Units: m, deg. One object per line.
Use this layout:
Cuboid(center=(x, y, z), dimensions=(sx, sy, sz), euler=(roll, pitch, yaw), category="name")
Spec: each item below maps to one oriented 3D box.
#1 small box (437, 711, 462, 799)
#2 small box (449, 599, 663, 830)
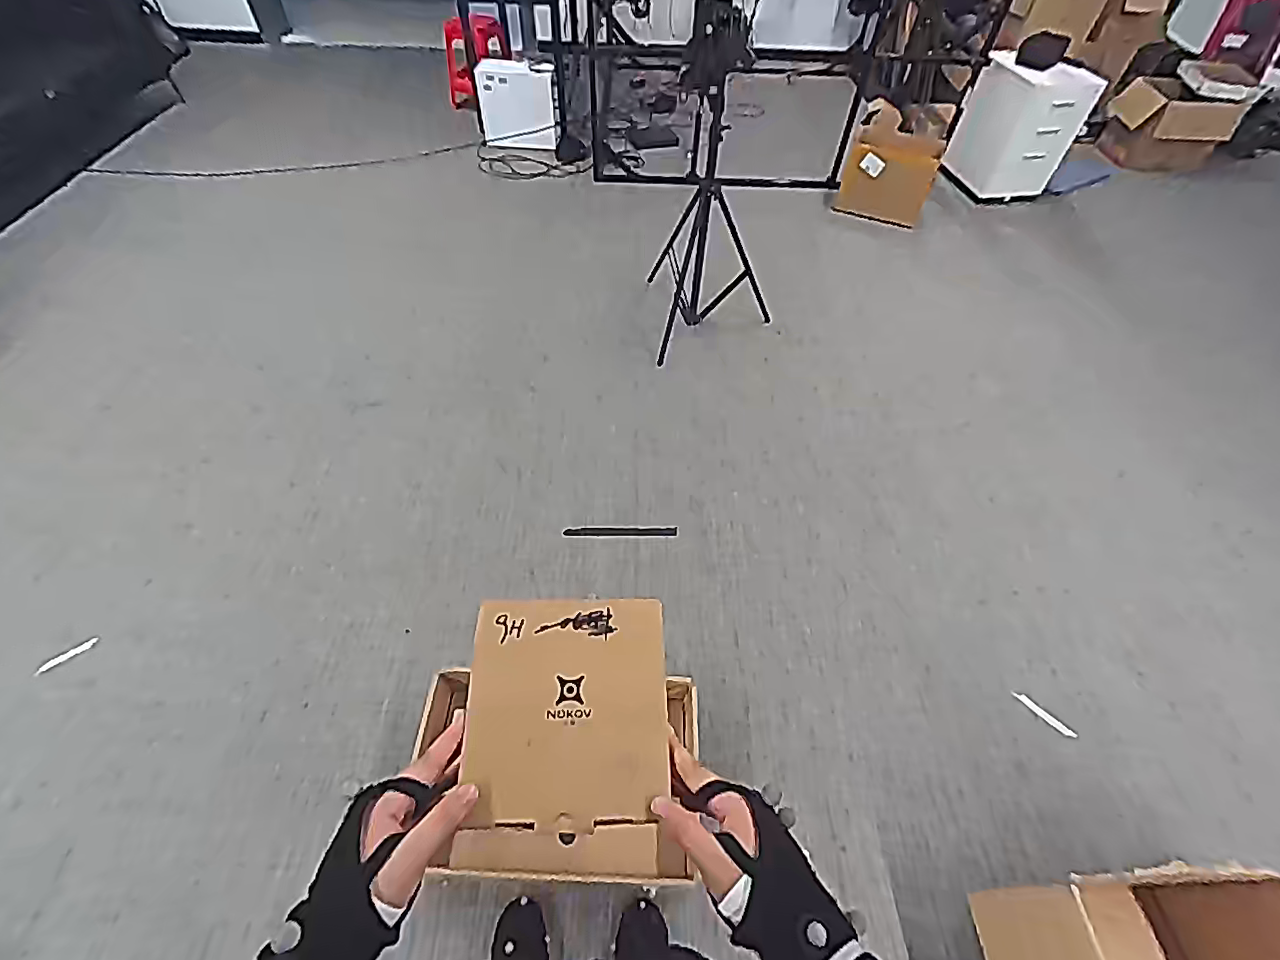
Cuboid(center=(-0.330, 0.629, 1.213), dimensions=(0.179, 0.176, 0.168), euler=(3, 54, -2), category="small box")
Cuboid(center=(-0.068, 0.222, 0.517), dimensions=(0.168, 0.176, 0.179), euler=(1, 60, -4), category="small box")
